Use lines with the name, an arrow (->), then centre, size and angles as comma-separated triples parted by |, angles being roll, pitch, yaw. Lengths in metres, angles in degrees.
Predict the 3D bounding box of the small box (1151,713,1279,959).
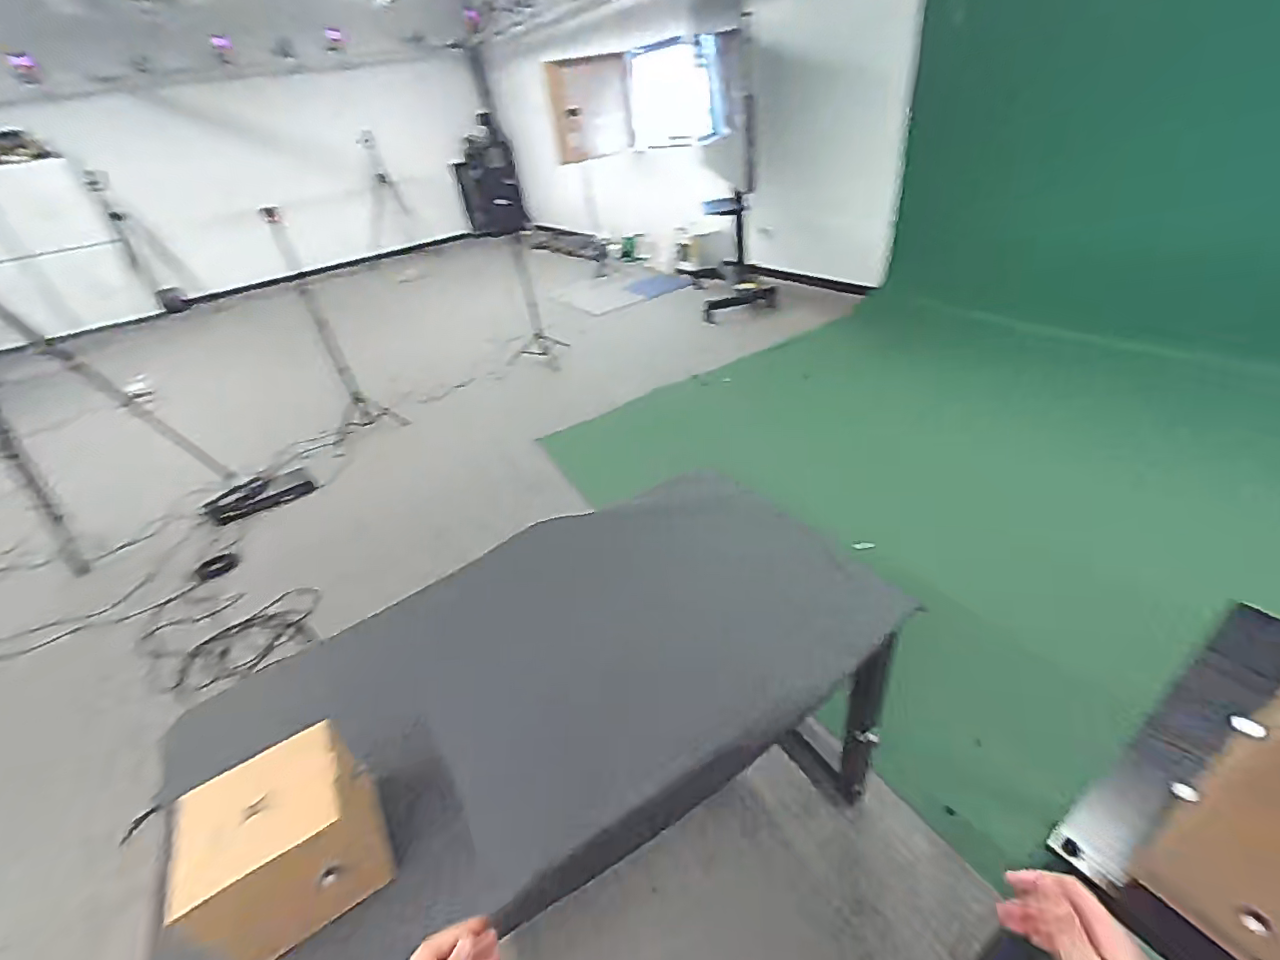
small box -> 0.675, 0.387, 0.546 | 0.179, 0.176, 0.168 | -26, 39, -22

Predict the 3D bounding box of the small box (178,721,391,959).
small box -> -0.447, 0.466, 0.706 | 0.179, 0.176, 0.168 | -27, 36, -22
